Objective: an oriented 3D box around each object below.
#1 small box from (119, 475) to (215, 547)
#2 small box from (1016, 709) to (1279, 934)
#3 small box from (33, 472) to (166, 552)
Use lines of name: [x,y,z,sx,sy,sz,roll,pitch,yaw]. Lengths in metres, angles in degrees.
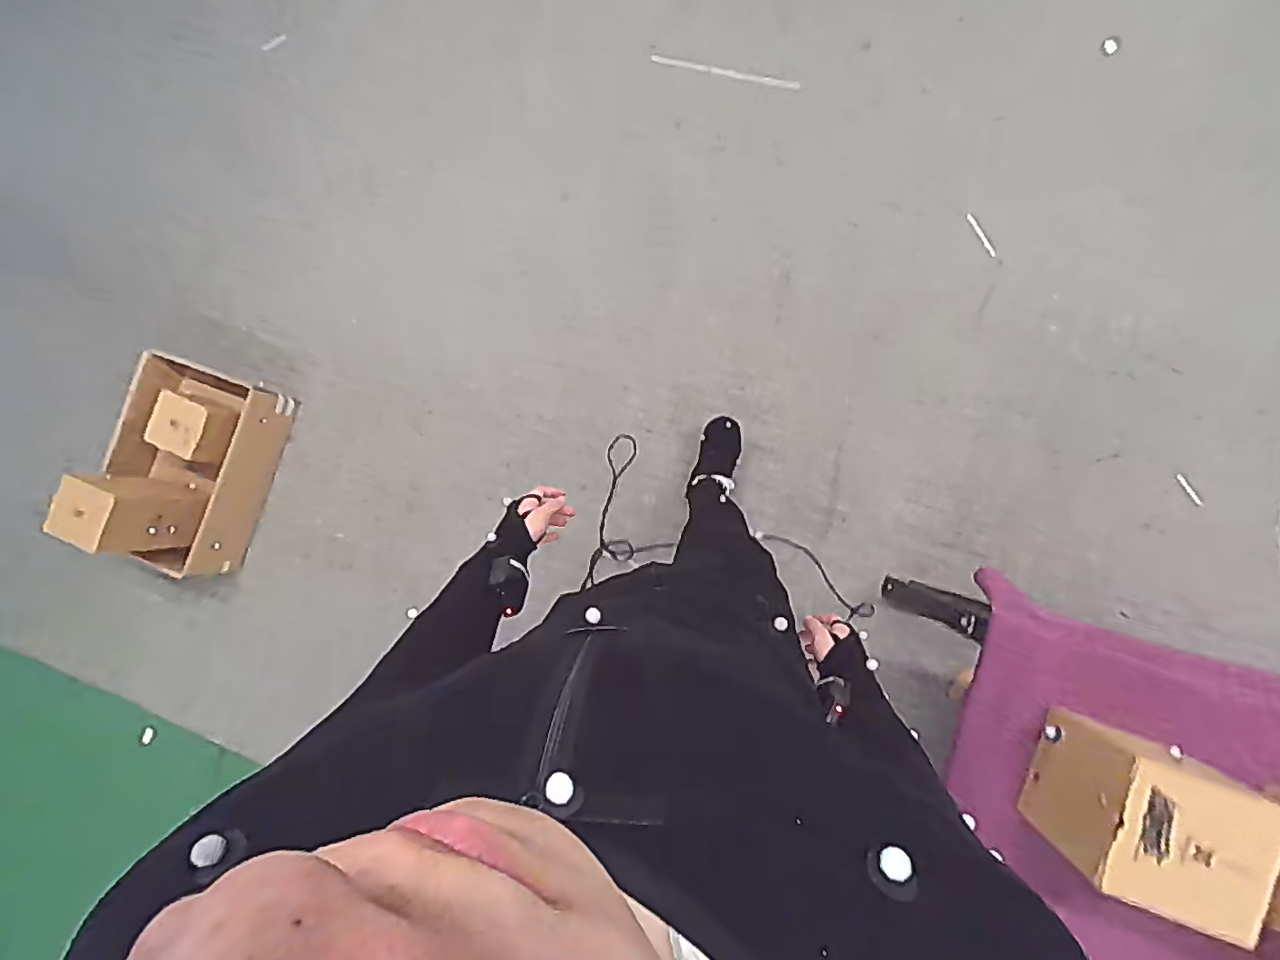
small box: [-1.474,0.094,1.662,0.179,0.176,0.168,21,90,8]
small box: [0.654,0.433,0.722,0.179,0.176,0.168,19,90,6]
small box: [-1.491,0.088,1.501,0.179,0.176,0.168,21,90,7]
